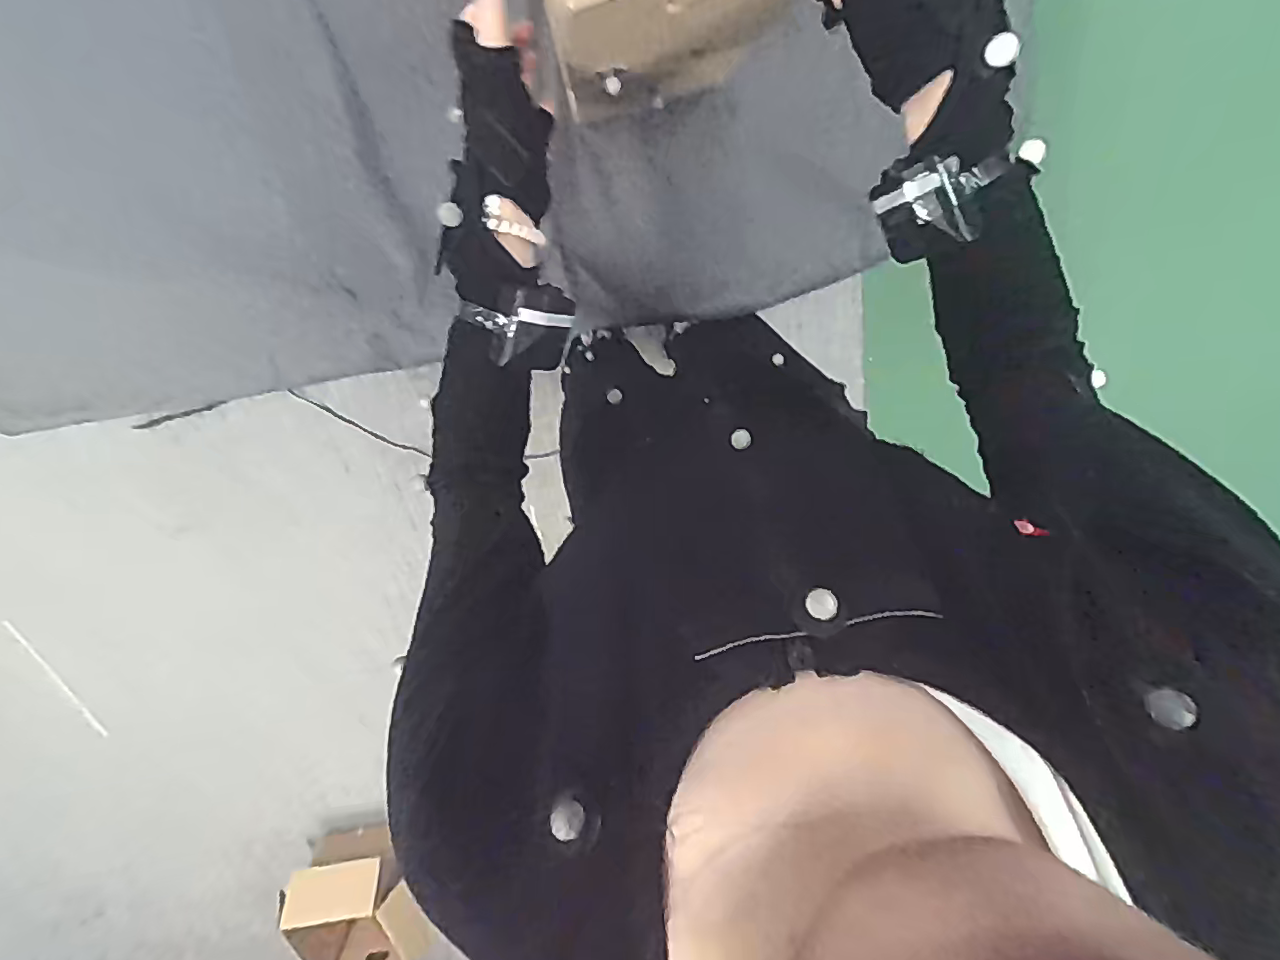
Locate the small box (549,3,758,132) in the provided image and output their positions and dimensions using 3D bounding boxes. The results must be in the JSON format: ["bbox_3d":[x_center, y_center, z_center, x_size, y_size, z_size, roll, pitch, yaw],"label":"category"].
[{"bbox_3d":[0.001,-0.452,0.494,0.168,0.176,0.179,-14,113,1],"label":"small box"}]

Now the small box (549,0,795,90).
[{"bbox_3d":[0.012,-0.380,0.344,0.168,0.176,0.179,-14,111,1],"label":"small box"}]
